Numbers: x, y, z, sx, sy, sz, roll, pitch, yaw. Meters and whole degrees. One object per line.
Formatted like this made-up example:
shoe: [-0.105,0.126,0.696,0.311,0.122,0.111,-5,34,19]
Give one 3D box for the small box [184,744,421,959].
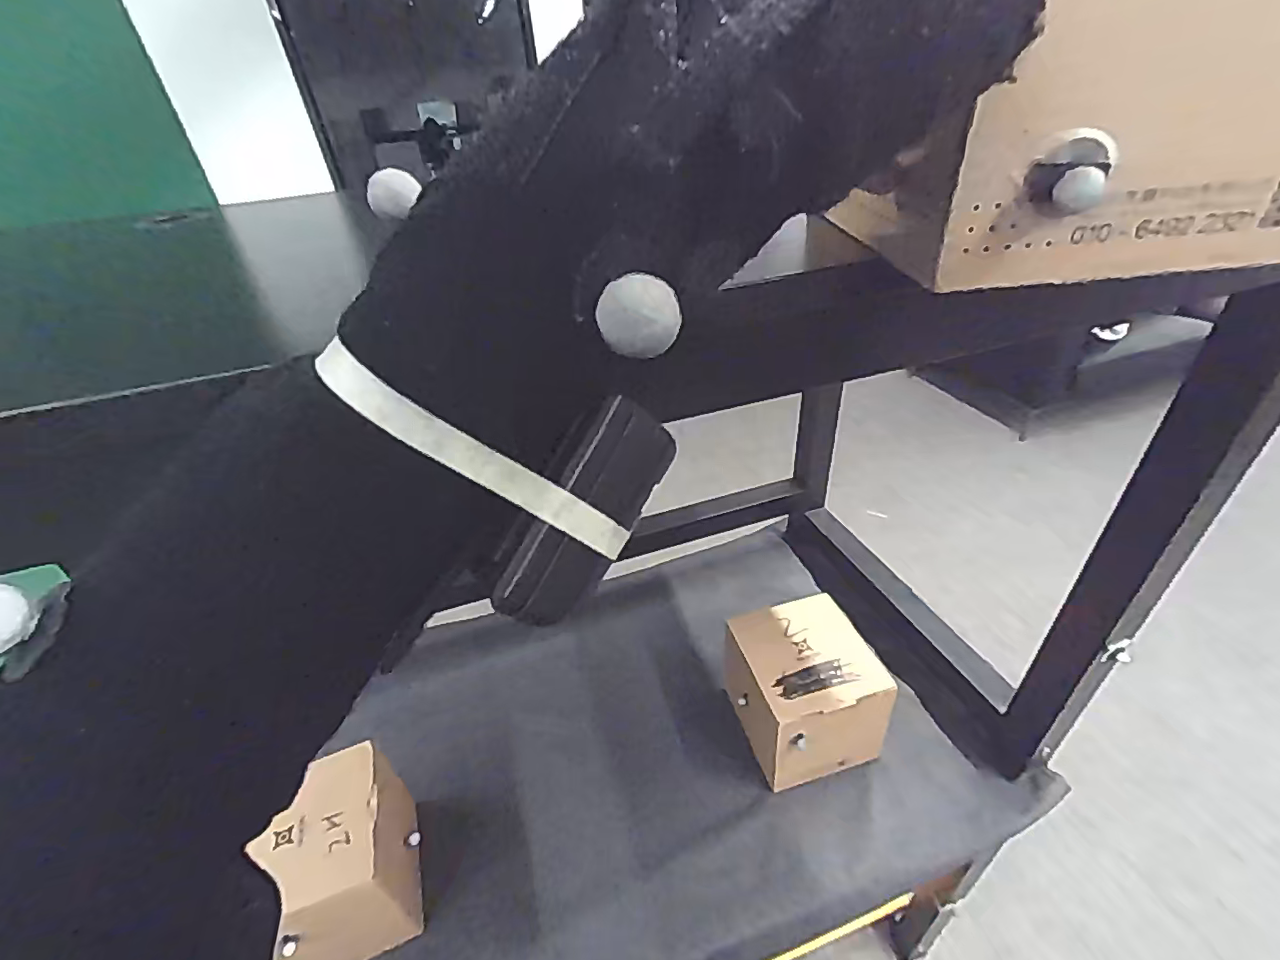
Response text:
small box: [-0.379,0.463,0.645,0.179,0.176,0.168,-16,36,-16]
